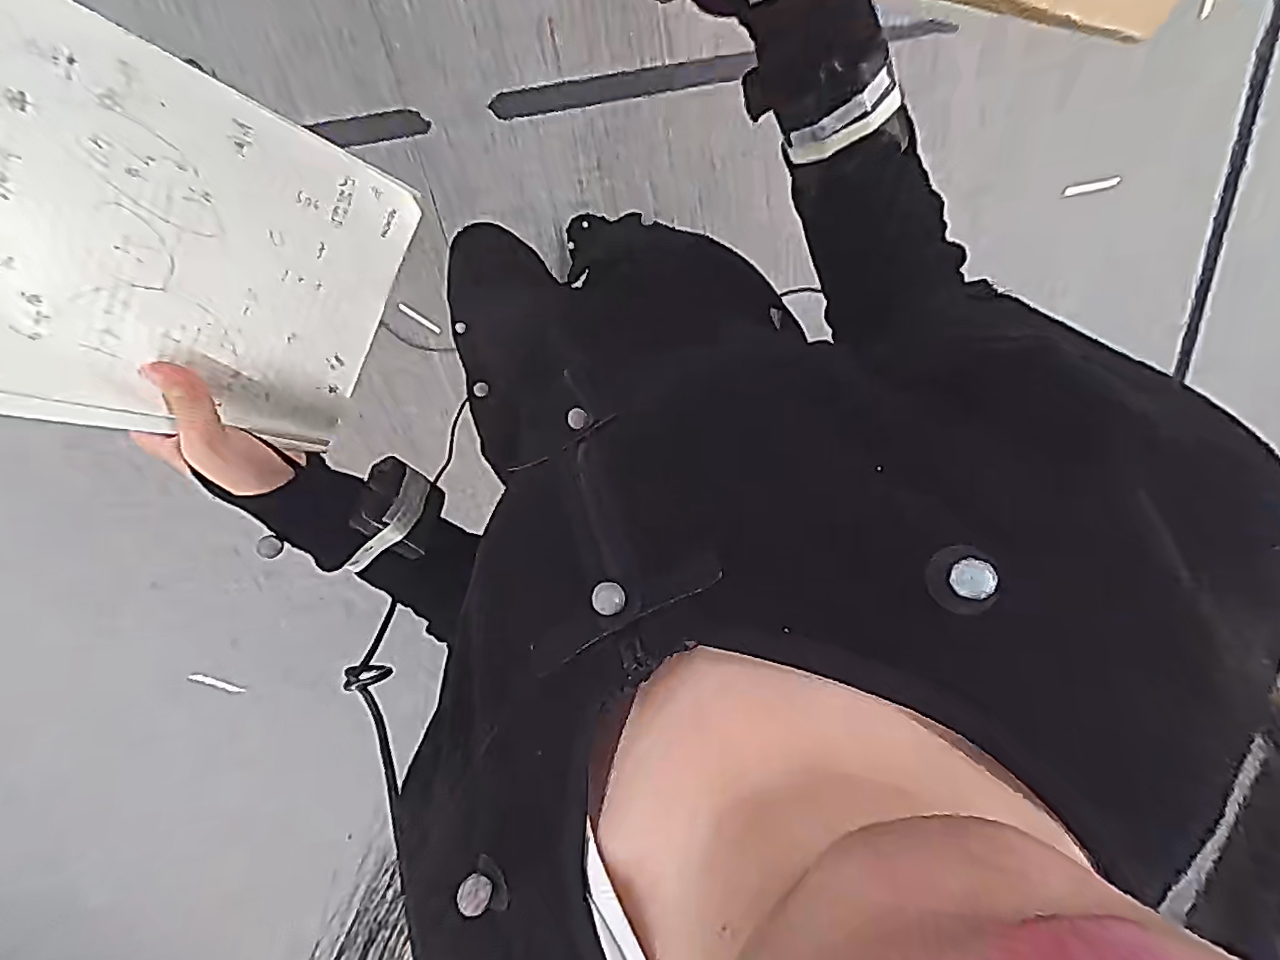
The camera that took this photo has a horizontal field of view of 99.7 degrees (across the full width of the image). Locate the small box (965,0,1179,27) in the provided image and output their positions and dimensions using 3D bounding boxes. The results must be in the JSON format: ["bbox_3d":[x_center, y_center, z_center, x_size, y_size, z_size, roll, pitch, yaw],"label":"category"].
[{"bbox_3d":[0.060,-0.225,0.109,0.168,0.176,0.179,-21,143,-30],"label":"small box"}]

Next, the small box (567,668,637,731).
[{"bbox_3d":[-0.098,0.615,1.413,0.168,0.176,0.179,-8,116,-5],"label":"small box"}]
